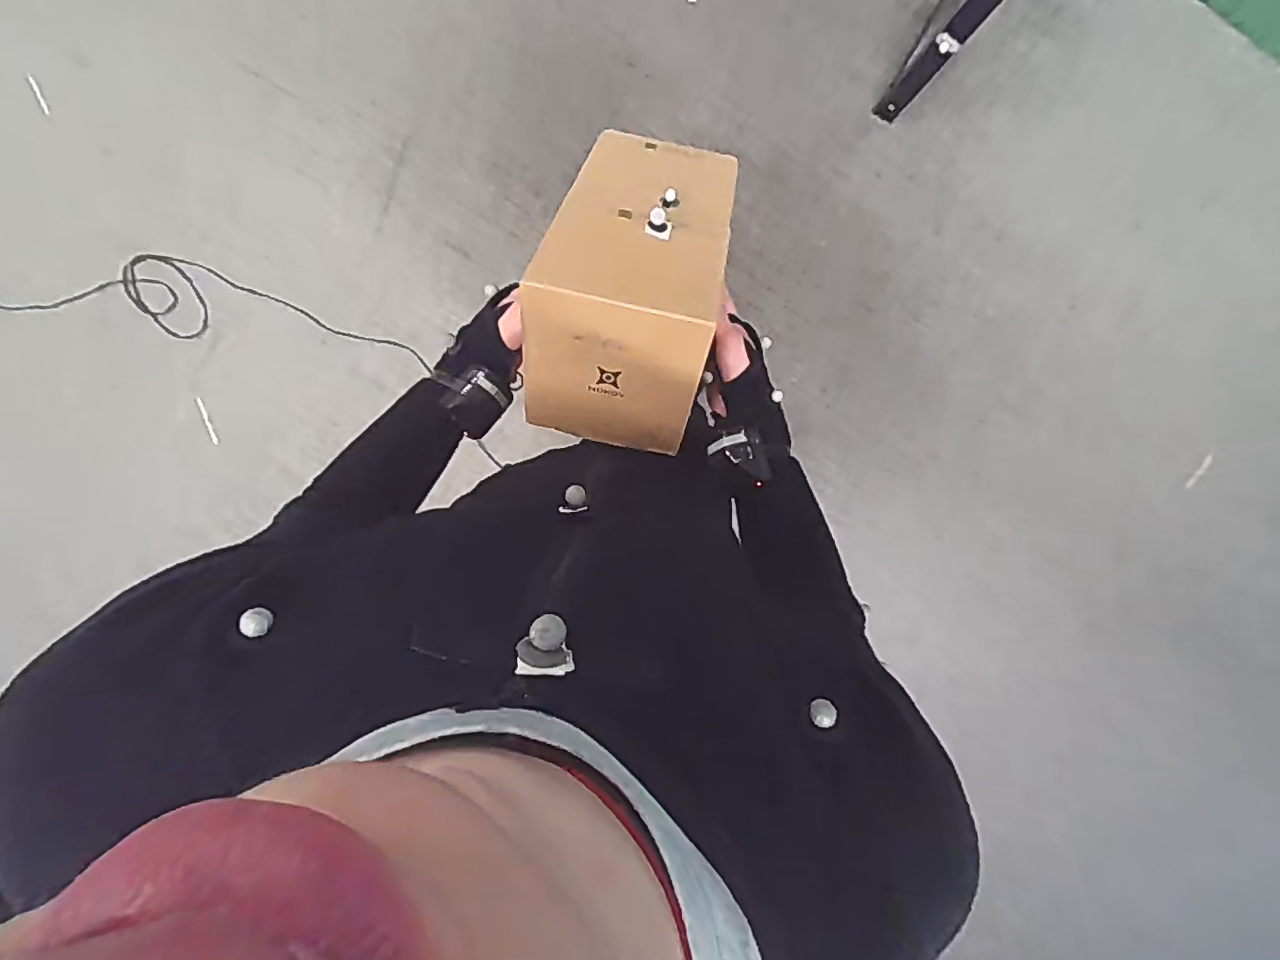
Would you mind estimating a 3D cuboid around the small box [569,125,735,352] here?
[{"bbox_3d":[0.014,-0.292,0.660,0.168,0.176,0.179,12,143,0],"label":"small box"}]
